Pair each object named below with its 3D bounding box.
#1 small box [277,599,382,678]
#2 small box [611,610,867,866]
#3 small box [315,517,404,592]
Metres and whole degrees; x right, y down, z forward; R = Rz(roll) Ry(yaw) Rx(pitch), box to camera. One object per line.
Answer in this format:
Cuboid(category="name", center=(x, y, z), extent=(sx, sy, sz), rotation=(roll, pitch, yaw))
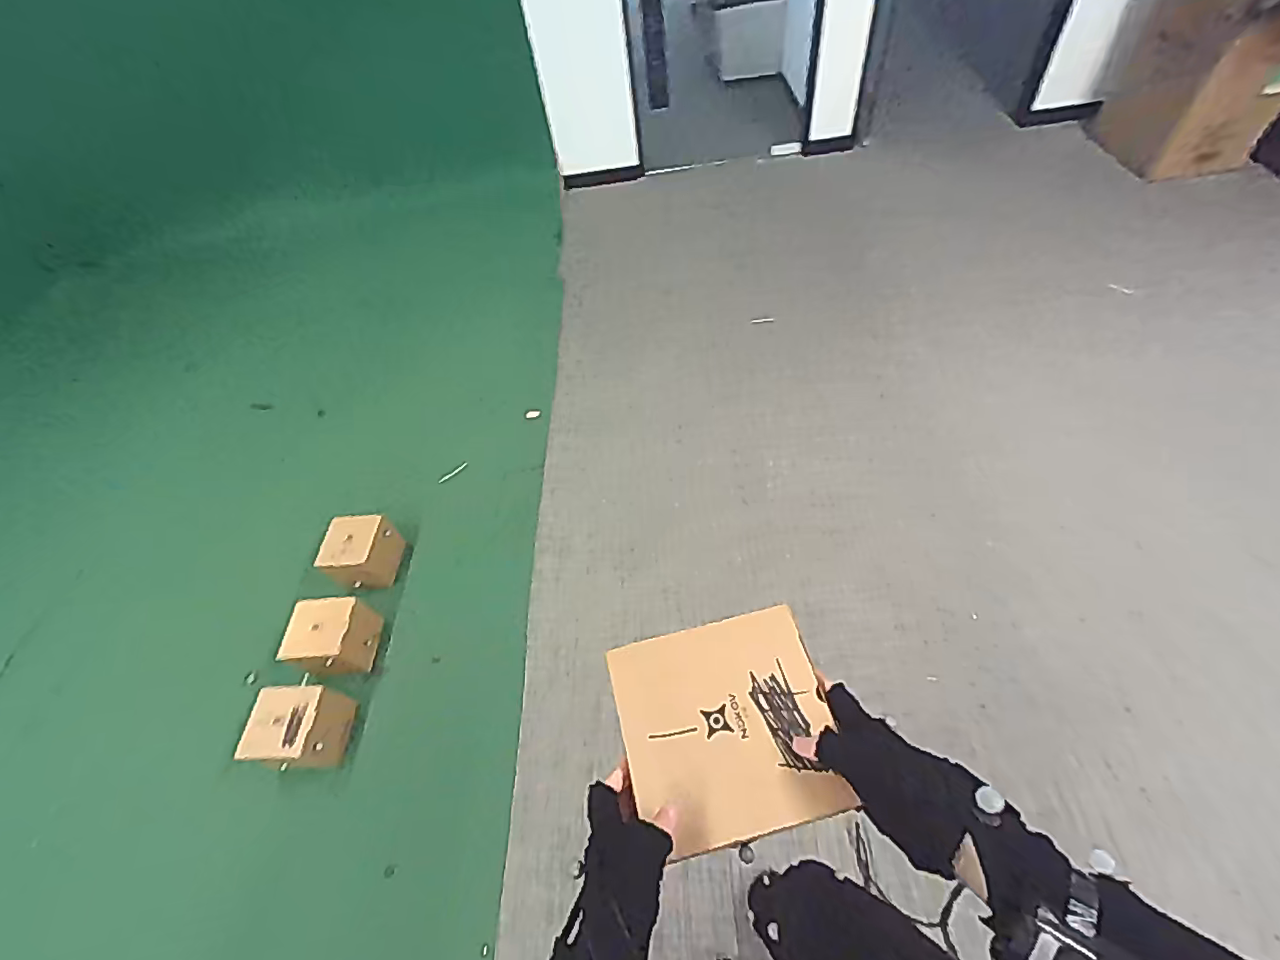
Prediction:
Cuboid(category="small box", center=(-0.879, 0.458, 1.549), extent=(0.179, 0.176, 0.168), rotation=(-5, 52, 3))
Cuboid(category="small box", center=(0.077, 0.246, 0.512), extent=(0.179, 0.176, 0.168), rotation=(-12, 54, -4))
Cuboid(category="small box", center=(-0.877, 0.238, 1.715), extent=(0.168, 0.176, 0.179), rotation=(-3, 52, 6))
